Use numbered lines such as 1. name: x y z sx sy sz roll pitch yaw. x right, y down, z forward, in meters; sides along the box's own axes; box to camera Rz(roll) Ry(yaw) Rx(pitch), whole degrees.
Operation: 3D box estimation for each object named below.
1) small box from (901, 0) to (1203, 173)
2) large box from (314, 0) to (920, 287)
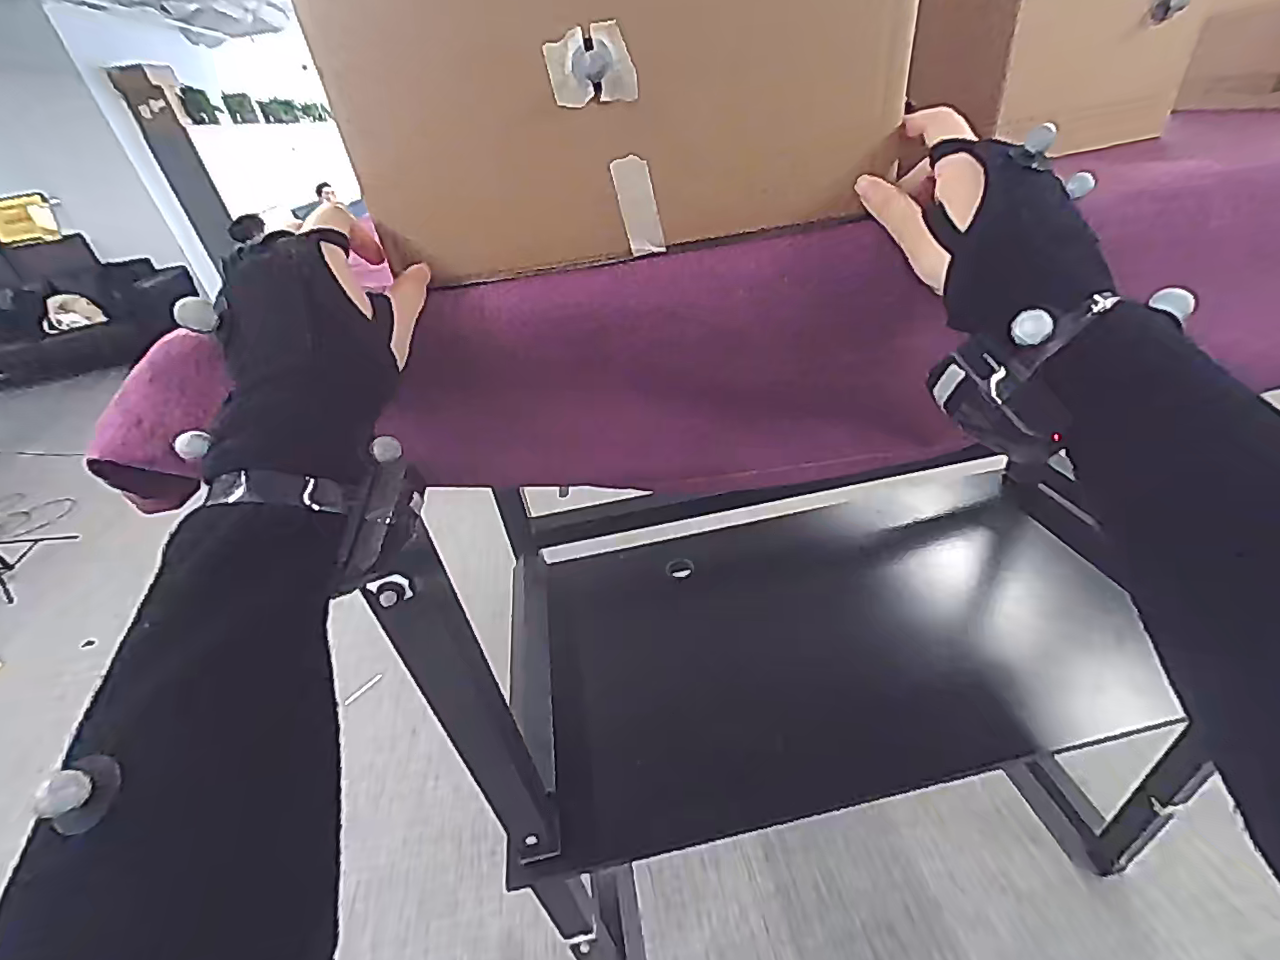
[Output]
1. small box: 0.317 -0.371 0.453 0.179 0.176 0.168 -15 34 -9
2. large box: -0.036 -0.366 0.406 0.320 0.320 0.408 -10 34 -3
